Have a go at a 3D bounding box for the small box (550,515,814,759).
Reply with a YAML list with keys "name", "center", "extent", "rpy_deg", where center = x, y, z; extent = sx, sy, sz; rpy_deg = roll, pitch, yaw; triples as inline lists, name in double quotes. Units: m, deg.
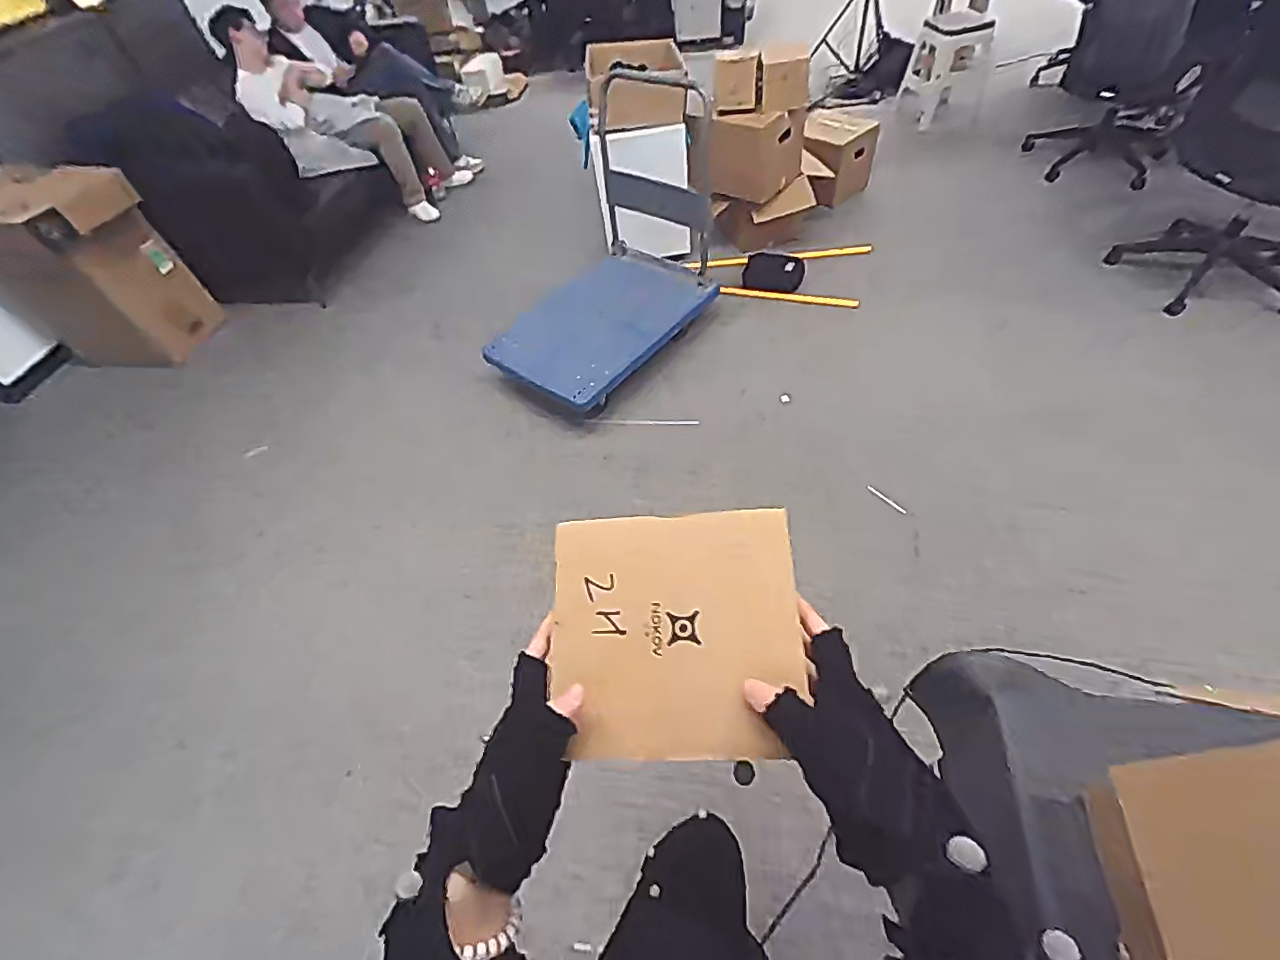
- name: "small box"
  center: [0.037, 0.134, 0.455]
  extent: [0.179, 0.176, 0.168]
  rpy_deg: [-3, 66, 8]
